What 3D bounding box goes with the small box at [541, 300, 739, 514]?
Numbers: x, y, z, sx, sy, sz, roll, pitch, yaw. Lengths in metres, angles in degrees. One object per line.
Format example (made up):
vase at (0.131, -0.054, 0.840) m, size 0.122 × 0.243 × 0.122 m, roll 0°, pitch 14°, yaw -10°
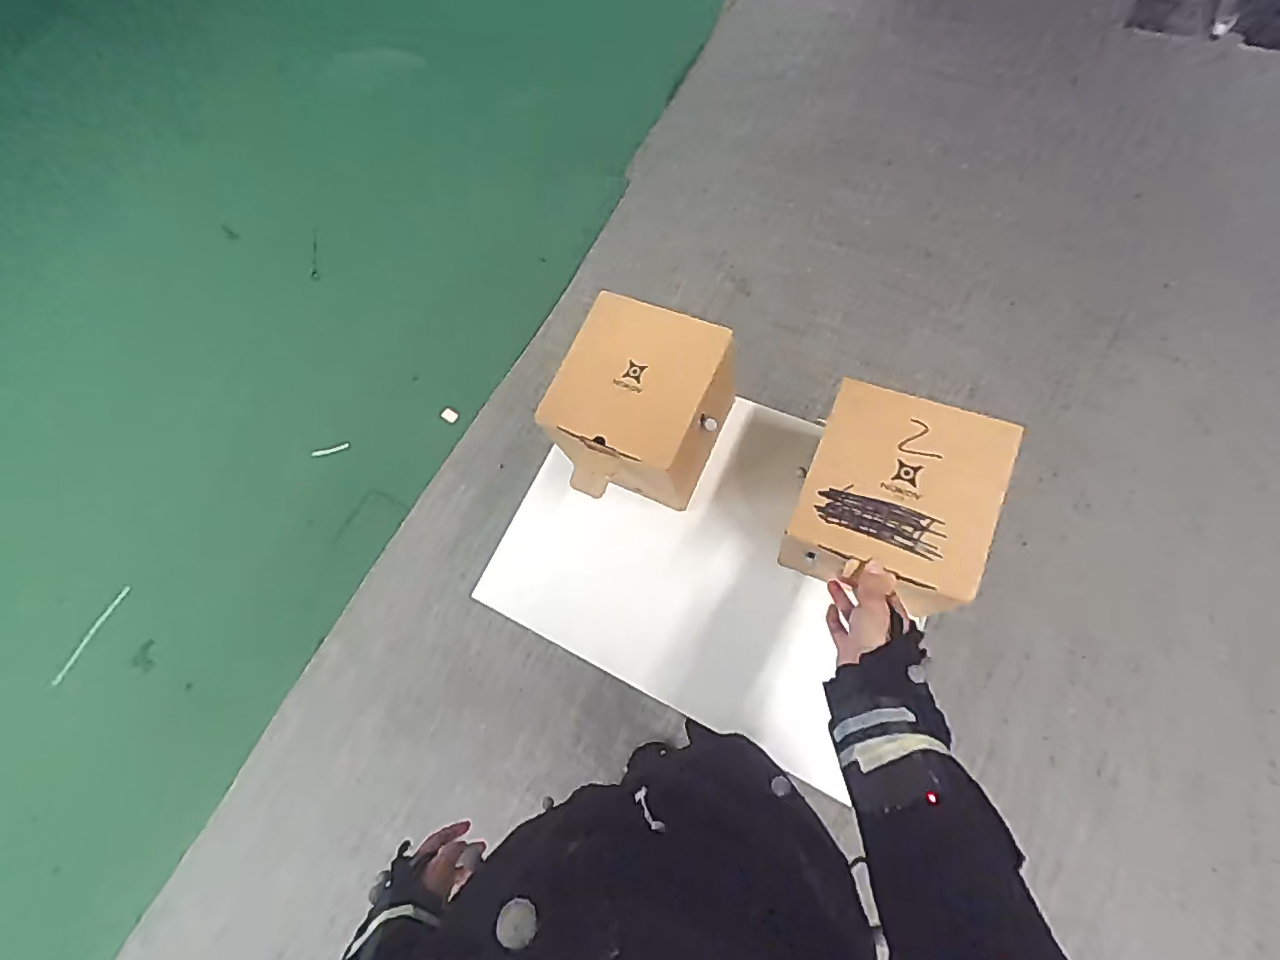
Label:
small box at (0.010, -0.080, 0.662) m, size 0.168 × 0.176 × 0.179 m, roll 22°, pitch 79°, yaw 16°
